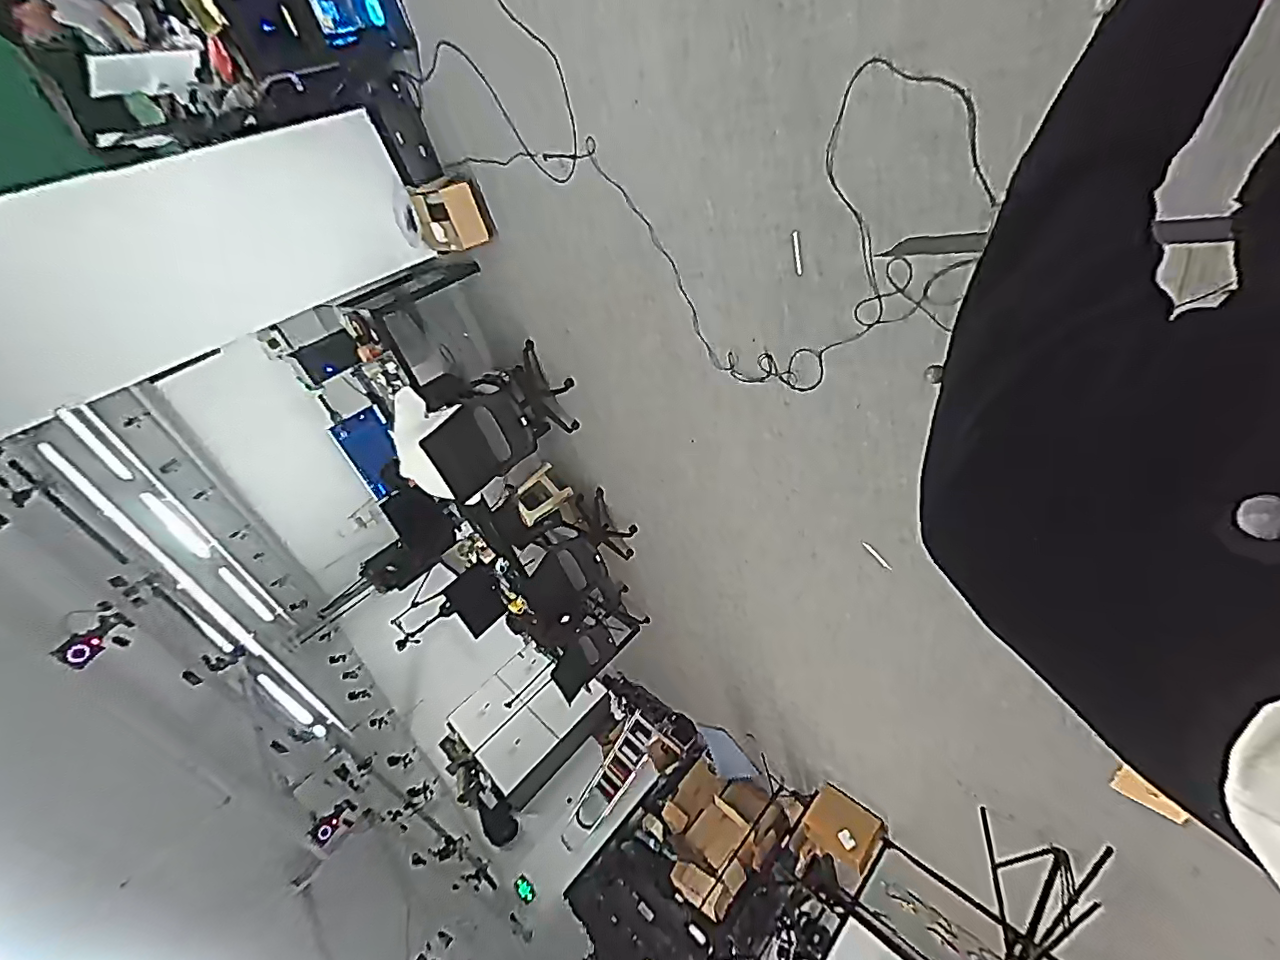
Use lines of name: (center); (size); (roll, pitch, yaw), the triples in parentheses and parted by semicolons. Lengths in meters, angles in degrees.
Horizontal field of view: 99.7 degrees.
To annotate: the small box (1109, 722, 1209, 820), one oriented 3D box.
small box: (1.608, 0.895, 1.674); (0.179, 0.176, 0.168); (24, 143, 41)
